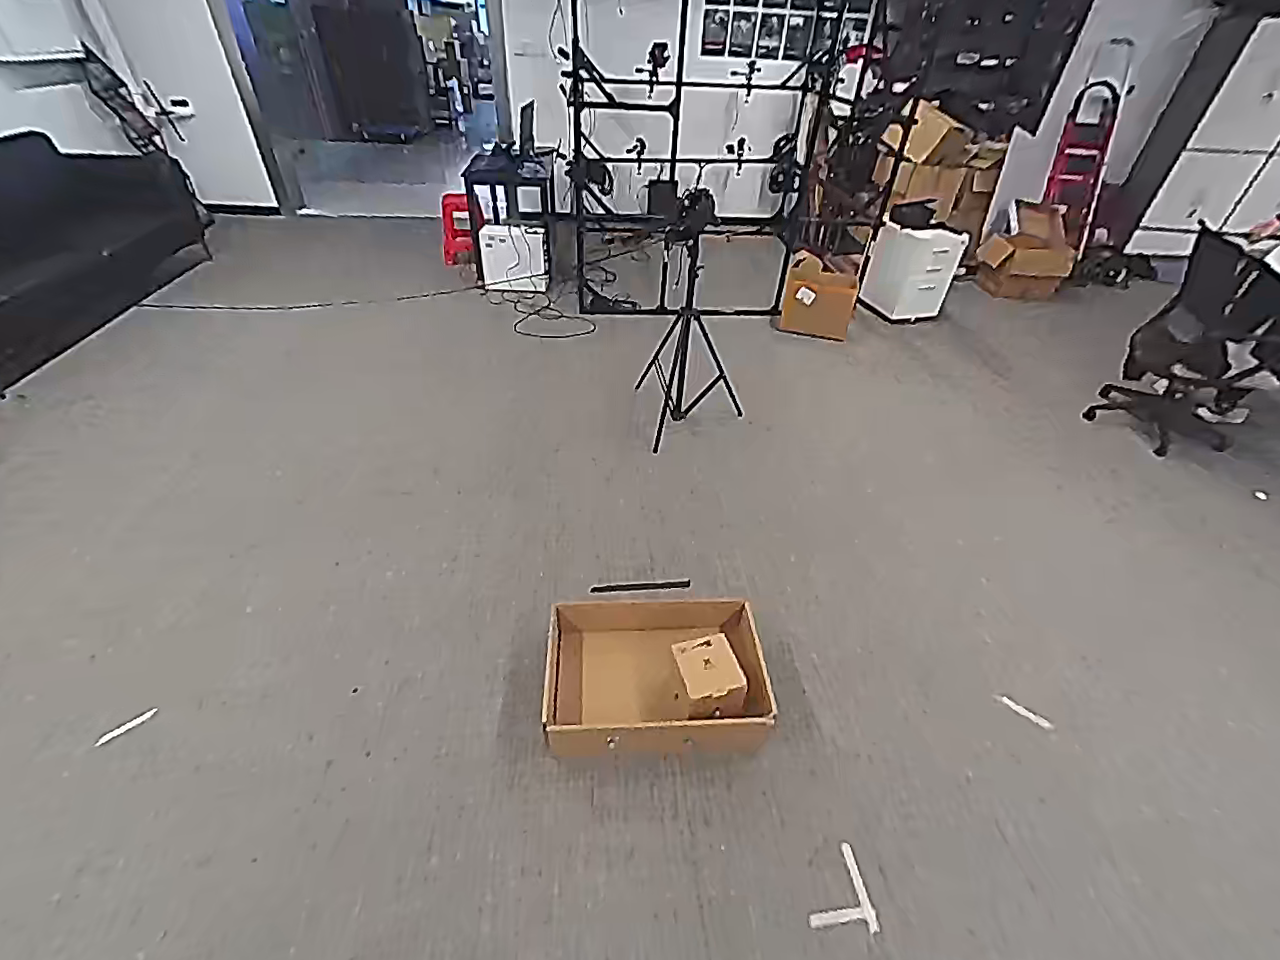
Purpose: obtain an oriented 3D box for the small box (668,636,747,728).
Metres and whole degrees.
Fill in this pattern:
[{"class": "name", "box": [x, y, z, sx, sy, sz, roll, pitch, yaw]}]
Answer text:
[{"class": "small box", "box": [0.186, 0.578, 1.532, 0.168, 0.176, 0.179, -9, 41, -14]}]
